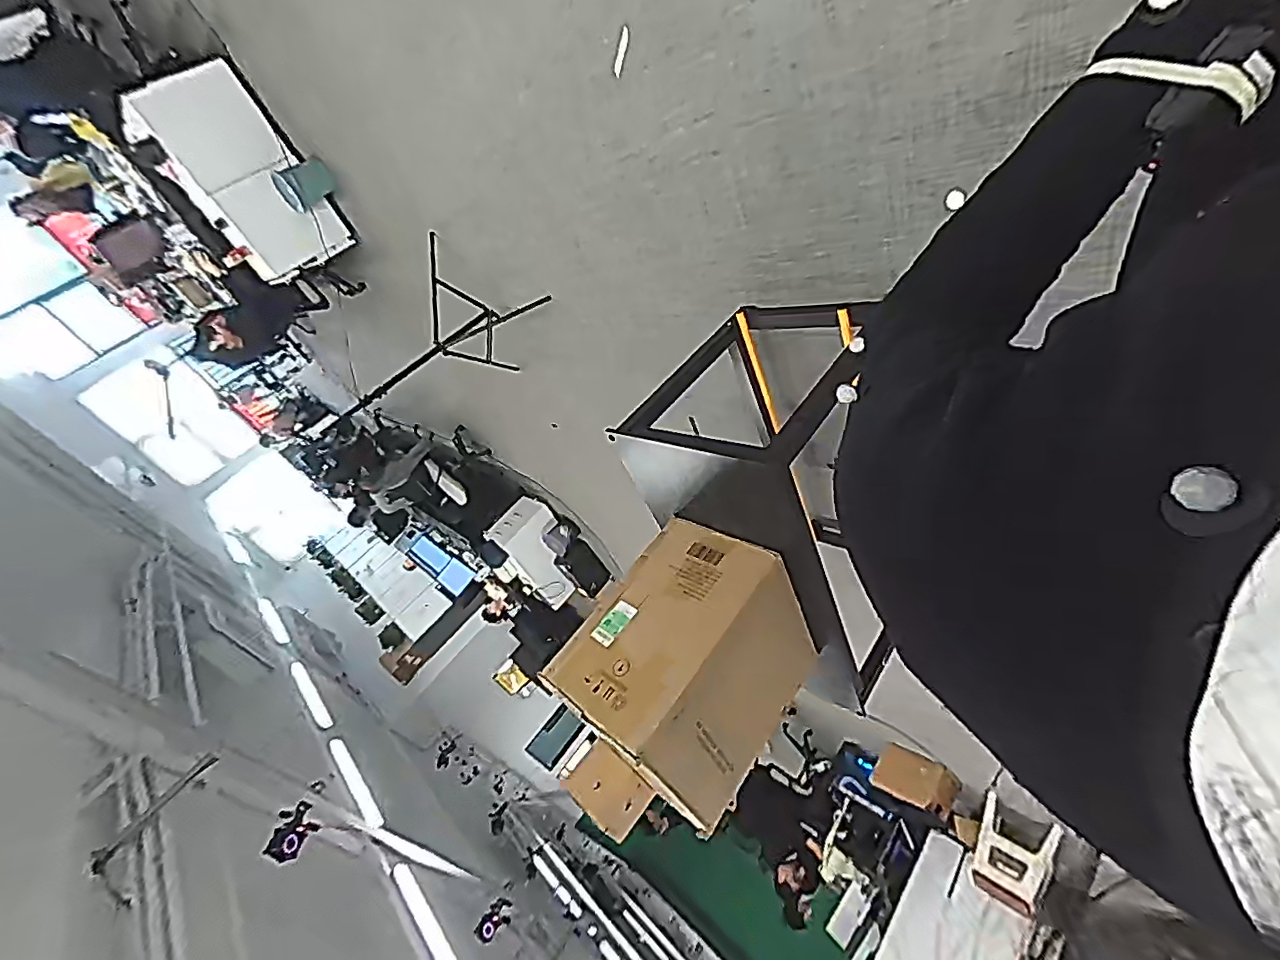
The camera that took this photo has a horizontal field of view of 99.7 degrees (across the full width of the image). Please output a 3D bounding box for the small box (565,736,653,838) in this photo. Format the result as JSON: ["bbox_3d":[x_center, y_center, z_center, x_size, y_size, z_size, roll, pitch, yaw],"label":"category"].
[{"bbox_3d":[-0.083,0.900,1.596,0.179,0.176,0.168,18,146,46],"label":"small box"}]
